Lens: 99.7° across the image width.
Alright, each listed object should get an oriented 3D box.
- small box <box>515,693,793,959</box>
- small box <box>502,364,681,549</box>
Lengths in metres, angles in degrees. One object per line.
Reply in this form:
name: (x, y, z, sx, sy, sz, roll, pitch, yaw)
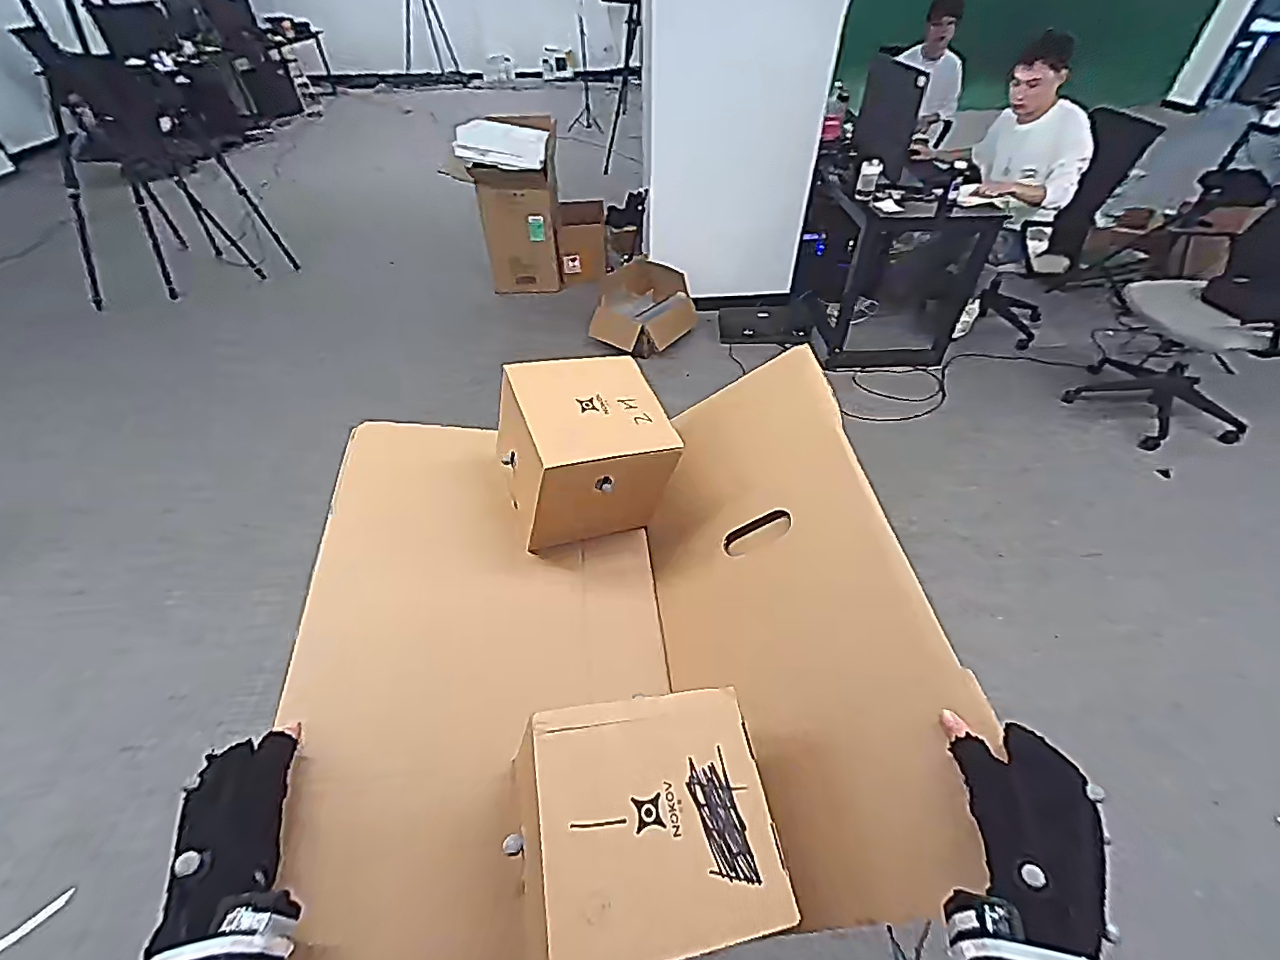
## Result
small box: (-0.007, 0.296, 0.457, 0.179, 0.176, 0.168, 0, 53, -18)
small box: (-0.076, -0.029, 0.702, 0.179, 0.176, 0.168, -9, 56, -26)
